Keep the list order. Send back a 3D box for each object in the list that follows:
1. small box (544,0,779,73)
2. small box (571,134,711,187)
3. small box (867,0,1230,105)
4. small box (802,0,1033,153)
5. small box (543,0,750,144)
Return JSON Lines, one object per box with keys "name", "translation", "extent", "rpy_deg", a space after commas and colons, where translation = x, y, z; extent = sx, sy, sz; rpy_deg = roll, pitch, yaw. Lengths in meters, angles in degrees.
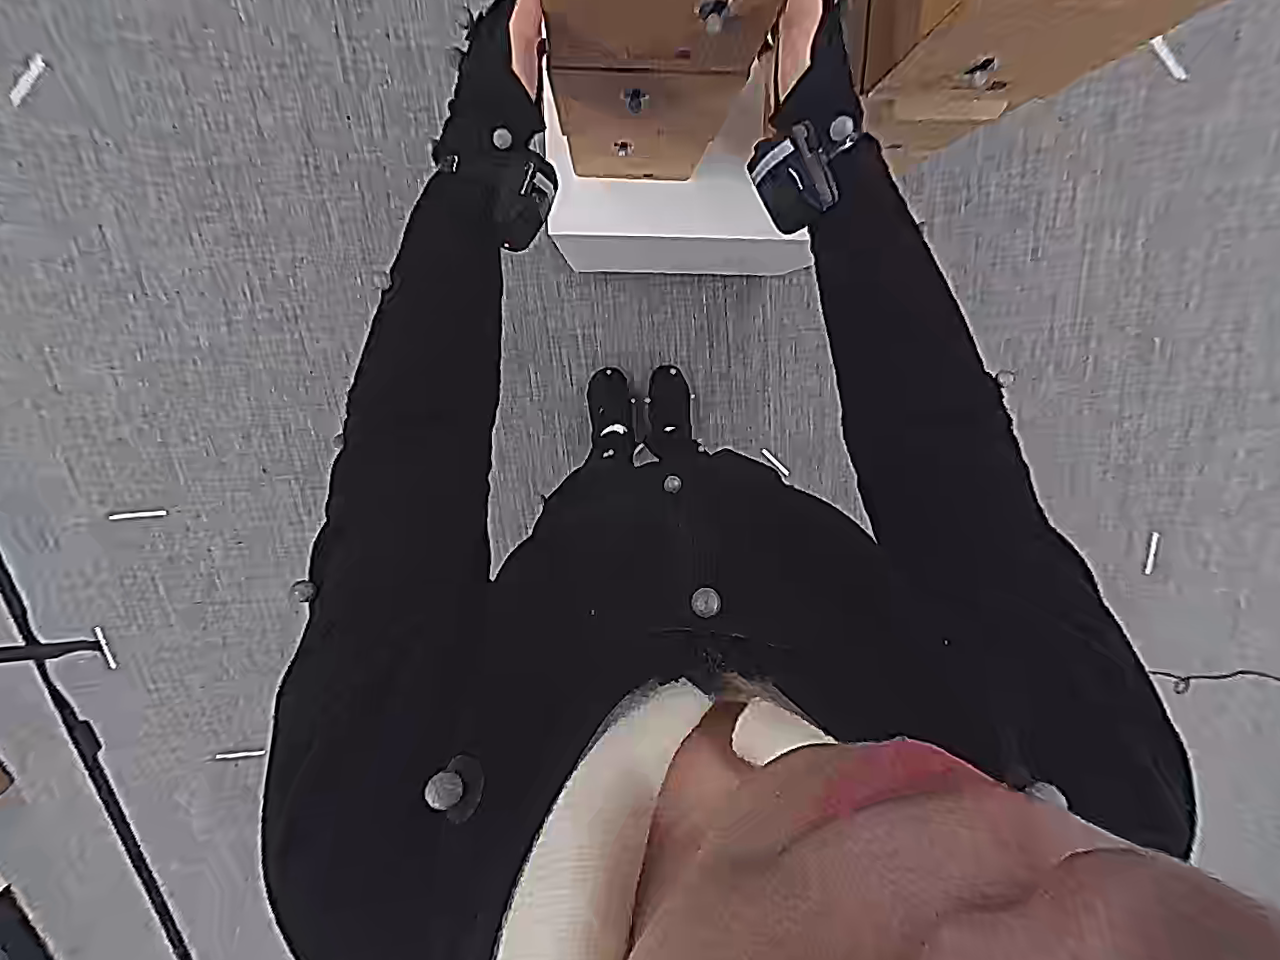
{"name": "small box", "translation": [0.017, -0.402, 0.352], "extent": [0.168, 0.176, 0.179], "rpy_deg": [0, 104, -4]}
{"name": "small box", "translation": [-0.003, -0.486, 0.670], "extent": [0.168, 0.176, 0.179], "rpy_deg": [1, 105, -3]}
{"name": "small box", "translation": [0.276, -0.392, 0.371], "extent": [0.168, 0.176, 0.179], "rpy_deg": [-2, 106, -3]}
{"name": "small box", "translation": [0.266, -0.438, 0.527], "extent": [0.168, 0.176, 0.179], "rpy_deg": [-1, 105, -2]}
{"name": "small box", "translation": [0.005, -0.439, 0.512], "extent": [0.179, 0.176, 0.168], "rpy_deg": [0, 106, -4]}
